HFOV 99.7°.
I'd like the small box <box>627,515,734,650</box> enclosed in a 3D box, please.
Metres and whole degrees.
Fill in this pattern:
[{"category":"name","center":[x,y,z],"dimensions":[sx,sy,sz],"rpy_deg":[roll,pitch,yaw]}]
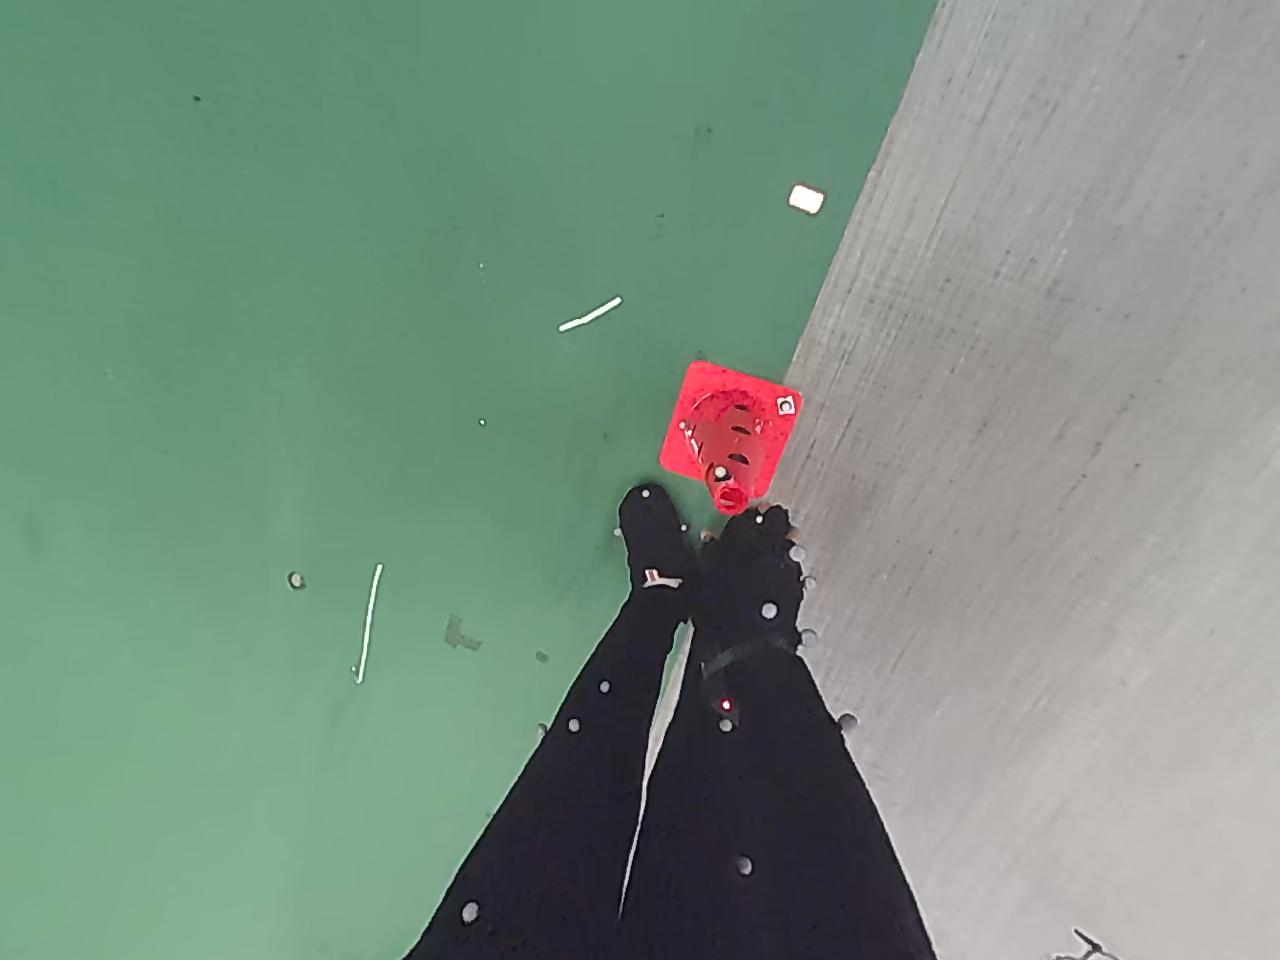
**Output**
[{"category":"small box","center":[0.066,0.181,0.980],"dimensions":[0.168,0.176,0.179],"rpy_deg":[4,112,-1]}]
